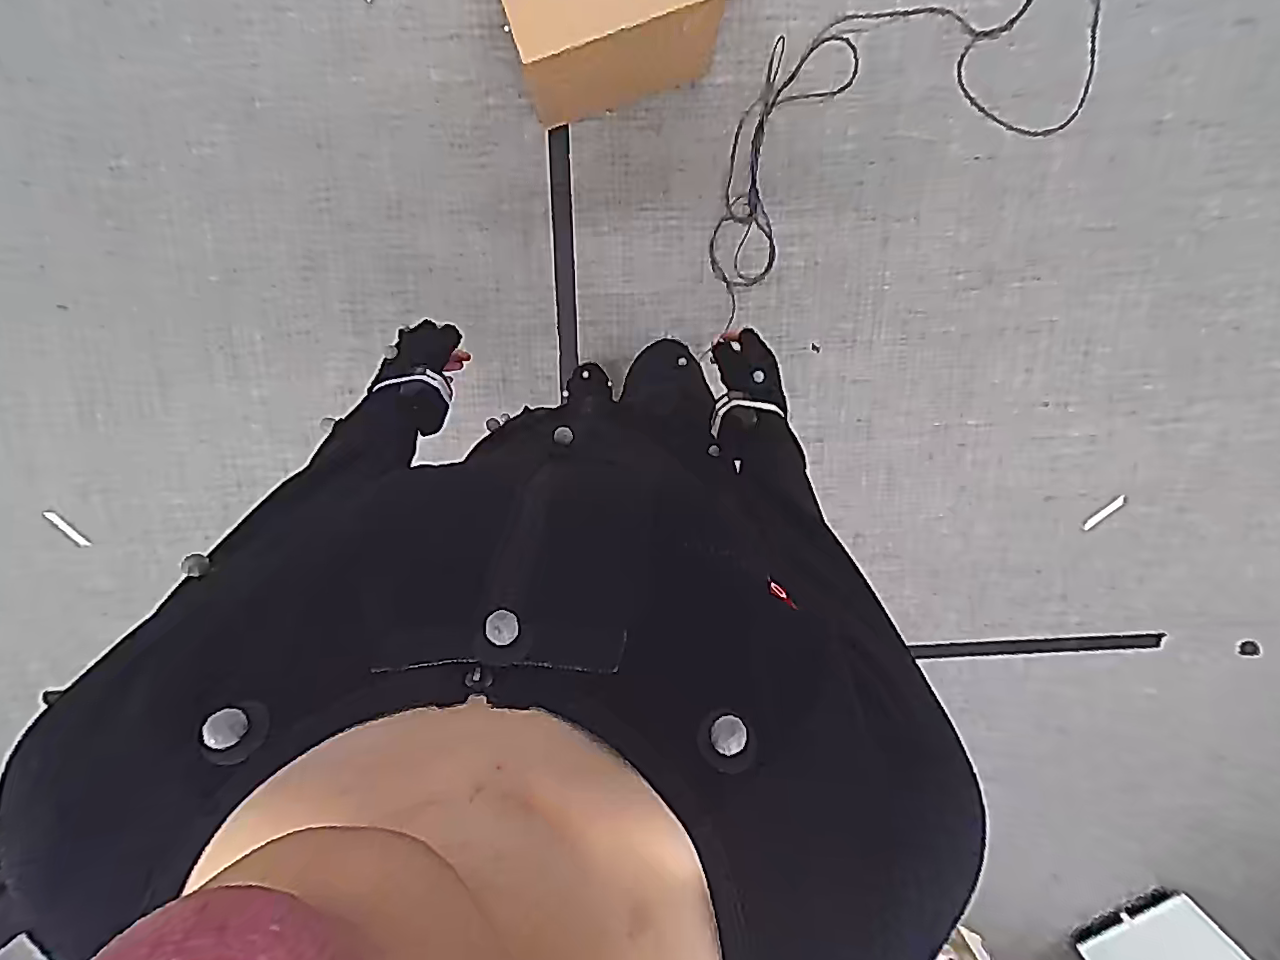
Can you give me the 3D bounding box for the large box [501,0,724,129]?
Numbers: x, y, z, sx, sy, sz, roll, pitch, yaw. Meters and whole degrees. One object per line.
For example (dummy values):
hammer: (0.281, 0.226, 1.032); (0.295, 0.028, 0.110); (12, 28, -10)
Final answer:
large box: (-0.078, -1.003, 1.105); (0.408, 0.320, 0.320); (-18, 103, 2)
